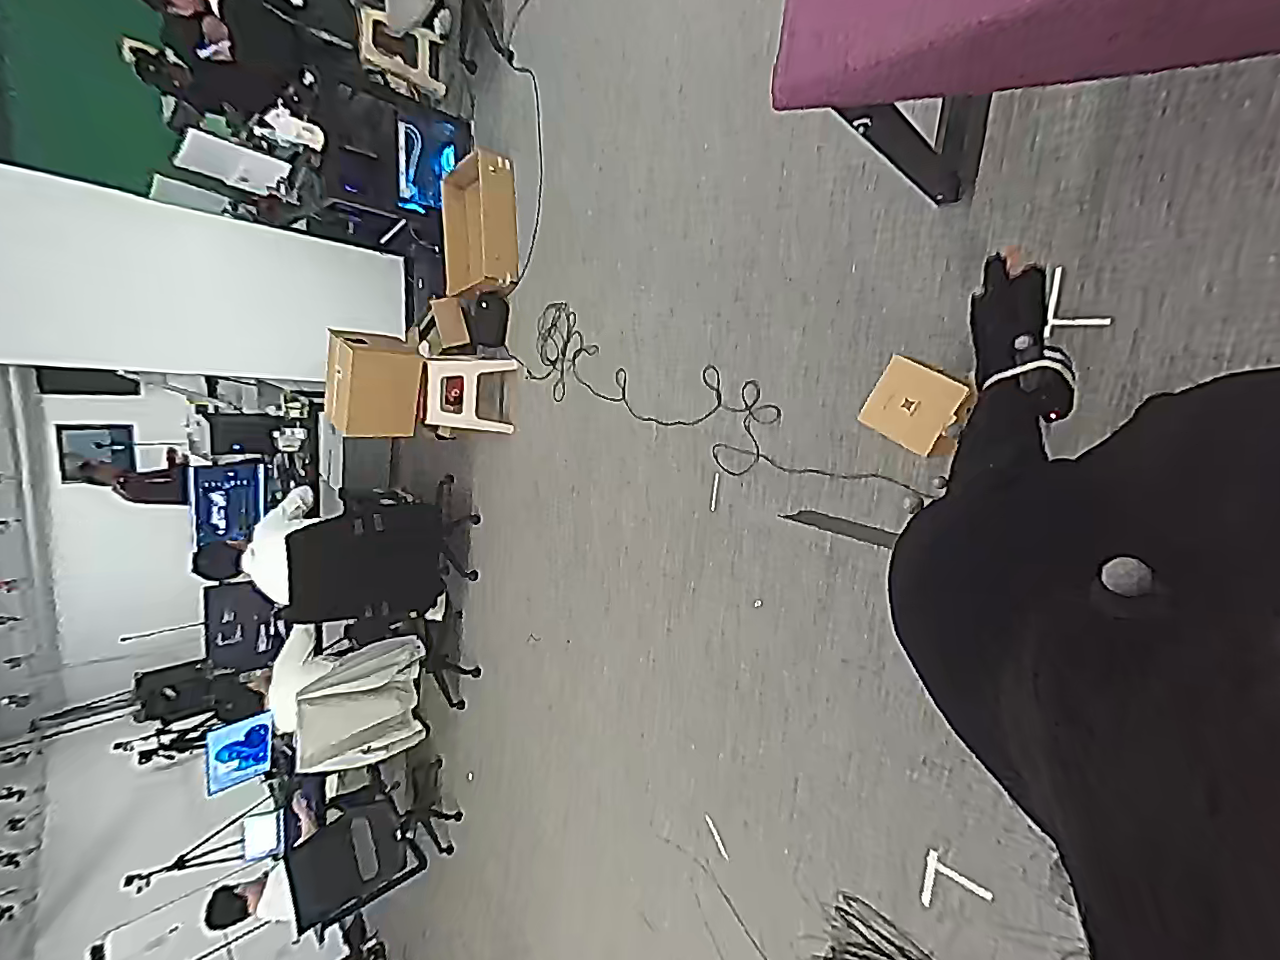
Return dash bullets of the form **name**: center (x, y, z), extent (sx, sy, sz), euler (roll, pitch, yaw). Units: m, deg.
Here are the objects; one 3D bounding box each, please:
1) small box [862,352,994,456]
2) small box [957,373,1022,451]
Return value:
- **small box**: center (0.639, -0.168, 1.196), extent (0.179, 0.176, 0.168), euler (41, 121, 36)
- **small box**: center (0.775, -0.167, 1.289), extent (0.179, 0.176, 0.168), euler (18, 107, 43)
